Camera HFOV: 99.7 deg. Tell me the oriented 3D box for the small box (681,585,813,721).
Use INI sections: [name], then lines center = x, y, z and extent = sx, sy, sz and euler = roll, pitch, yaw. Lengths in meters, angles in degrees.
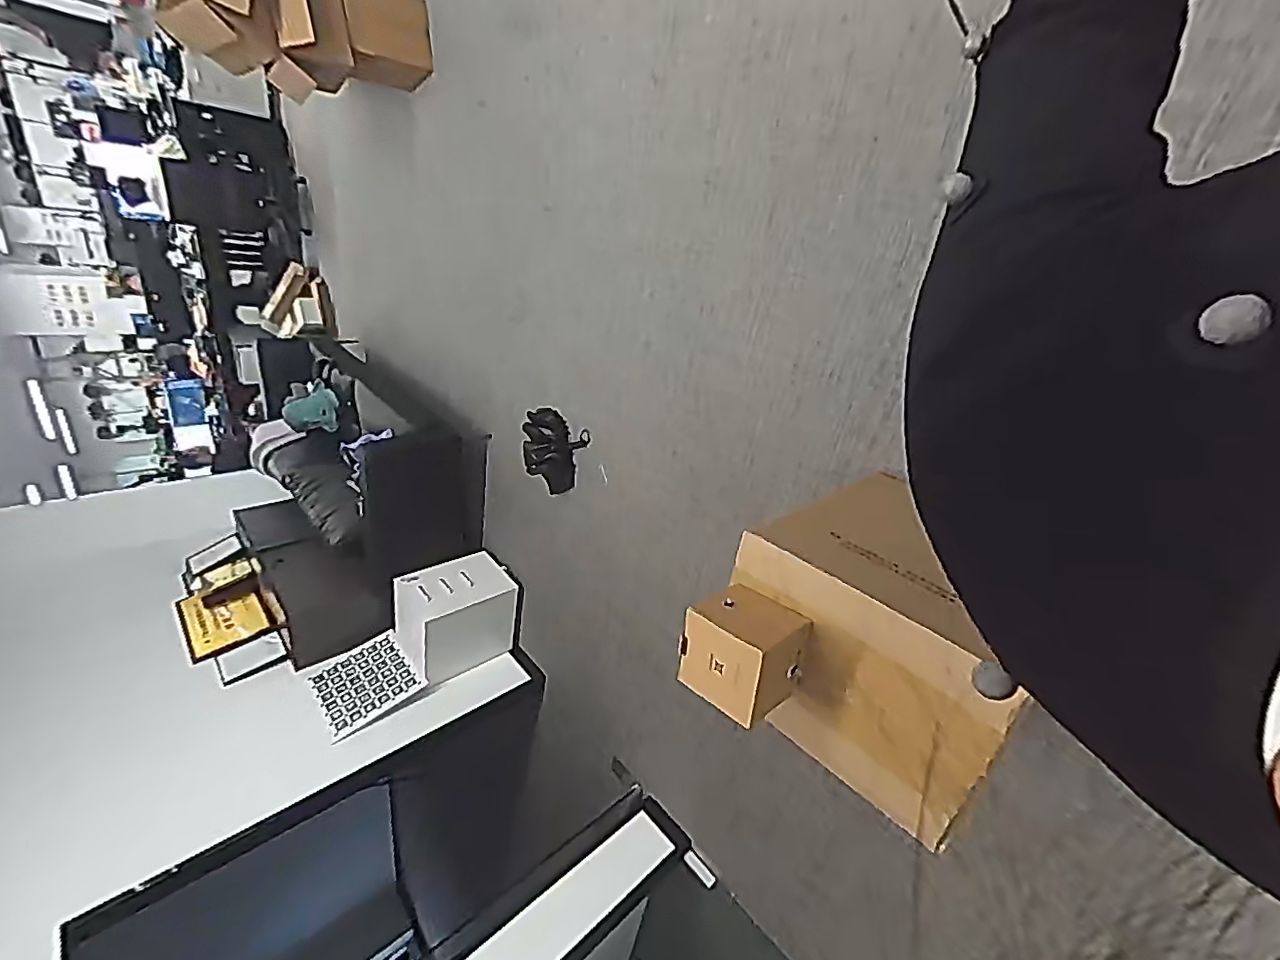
[small box]
center = 0.206, 0.321, 1.051
extent = 0.179, 0.176, 0.168
euler = 21, 114, 41
